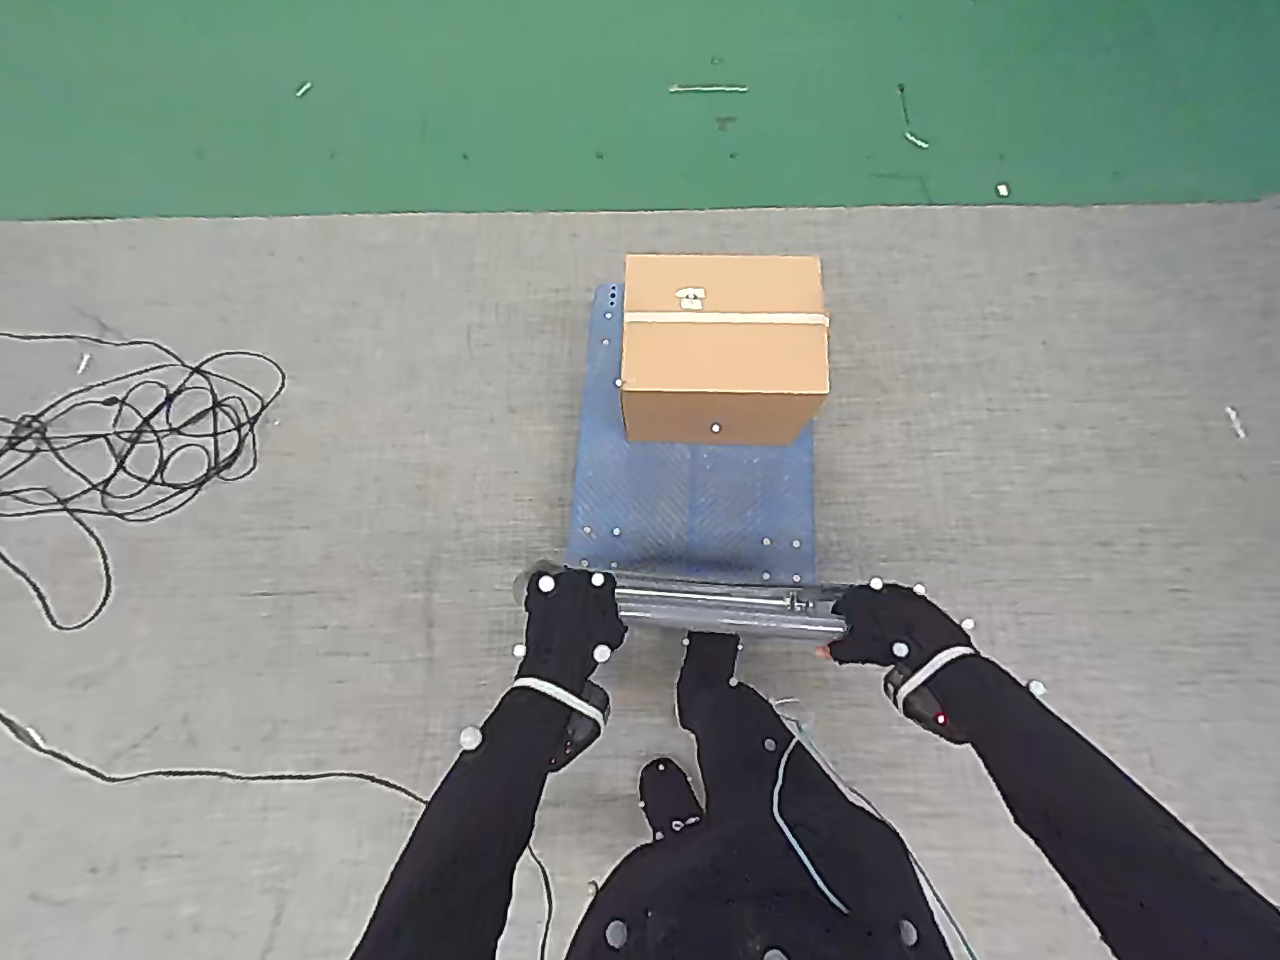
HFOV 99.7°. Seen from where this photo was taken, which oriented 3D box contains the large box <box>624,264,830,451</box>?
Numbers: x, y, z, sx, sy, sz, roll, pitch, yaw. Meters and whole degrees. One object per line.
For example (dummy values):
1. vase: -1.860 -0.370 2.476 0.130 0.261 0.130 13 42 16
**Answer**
1. large box: 0.178 -0.256 1.225 0.408 0.320 0.320 0 74 3
